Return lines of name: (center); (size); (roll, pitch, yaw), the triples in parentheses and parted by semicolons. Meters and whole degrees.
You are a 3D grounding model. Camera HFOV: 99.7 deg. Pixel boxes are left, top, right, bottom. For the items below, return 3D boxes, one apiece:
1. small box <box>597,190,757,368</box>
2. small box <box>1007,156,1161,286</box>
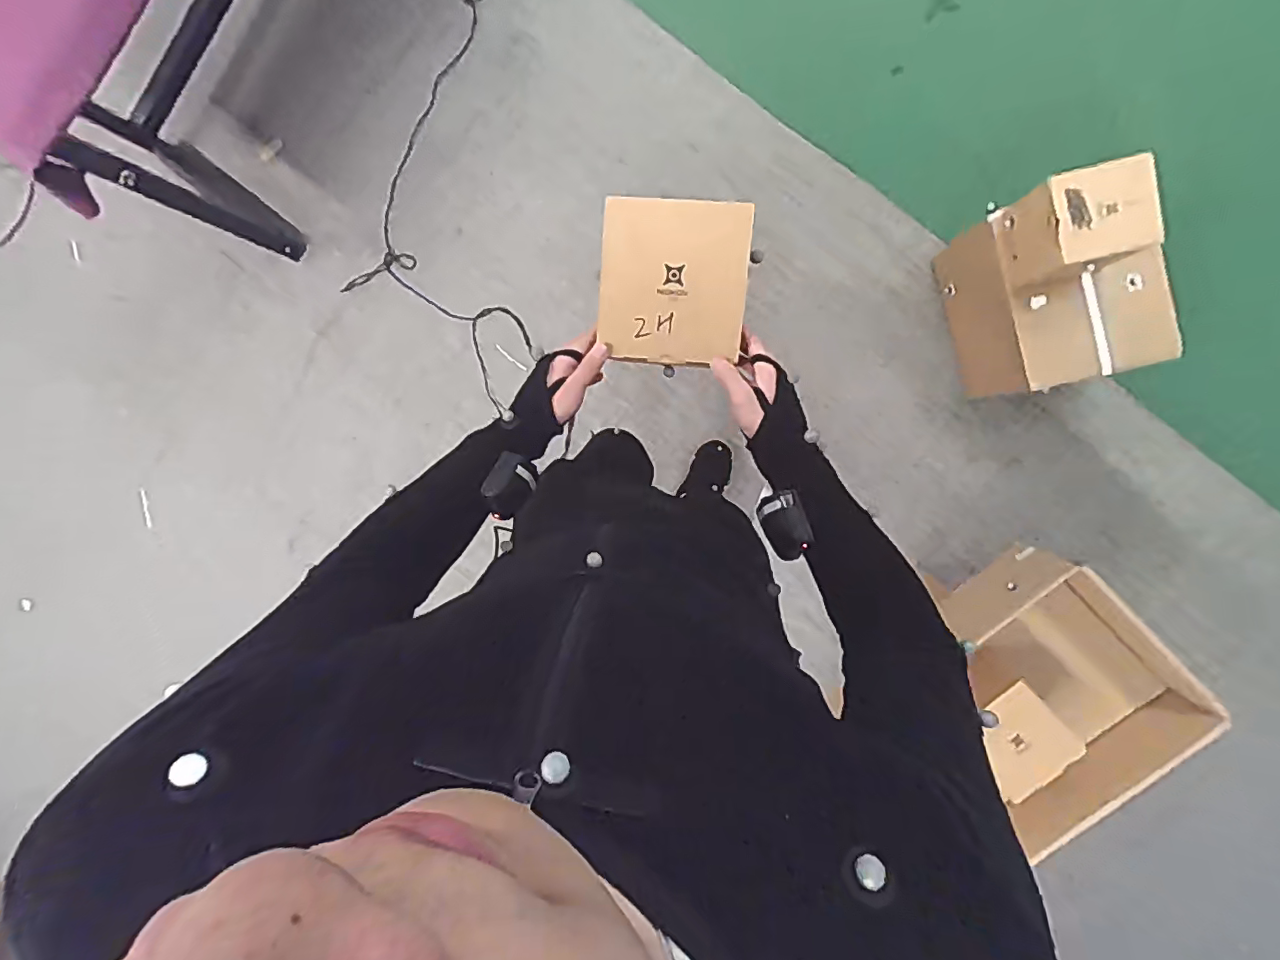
small box: (0.044, -0.237, 0.676); (0.168, 0.176, 0.179); (6, 102, 4)
small box: (0.867, -0.502, 1.078); (0.179, 0.176, 0.168); (-11, 94, 8)
